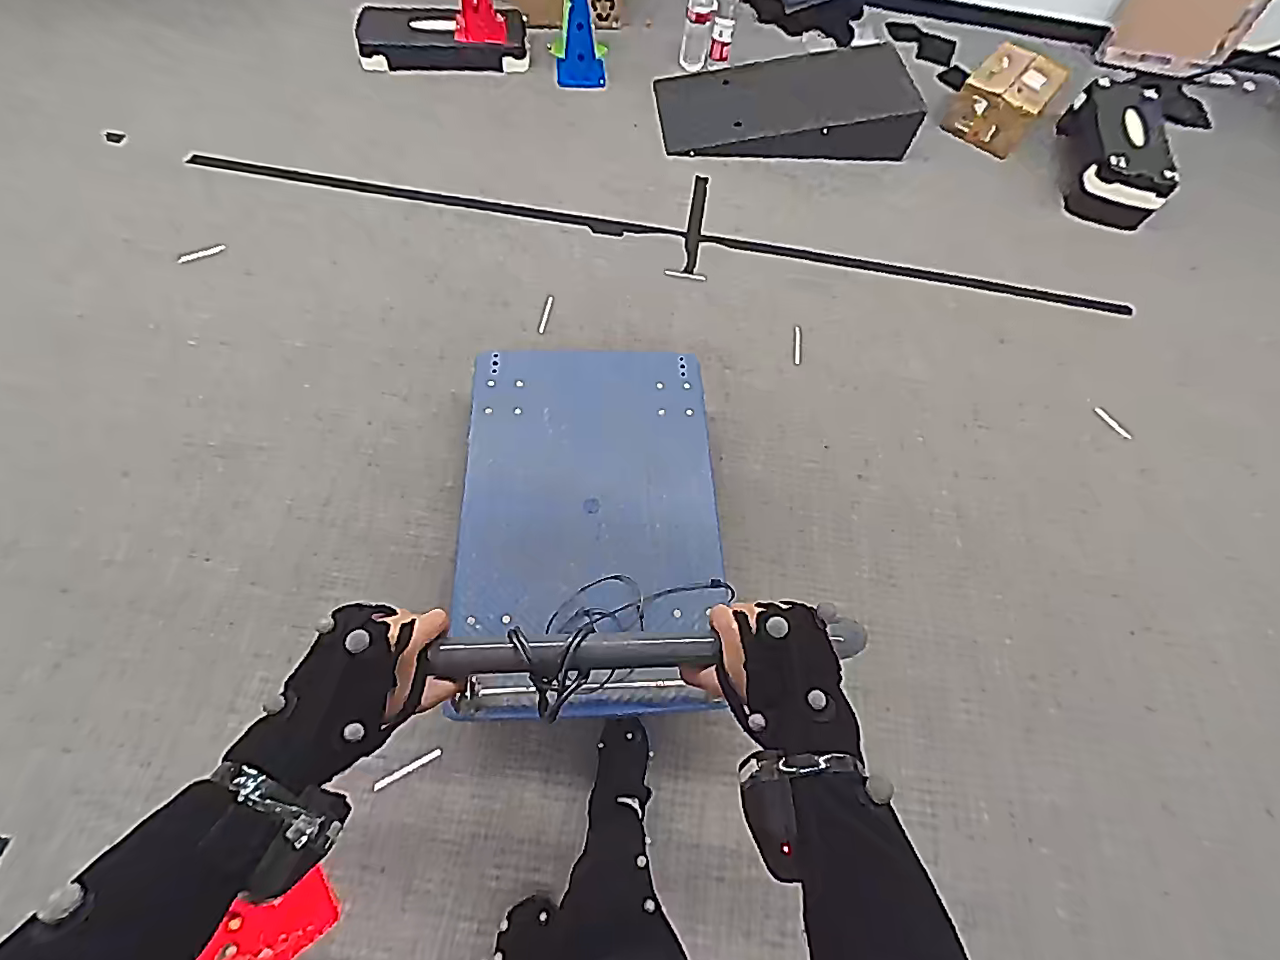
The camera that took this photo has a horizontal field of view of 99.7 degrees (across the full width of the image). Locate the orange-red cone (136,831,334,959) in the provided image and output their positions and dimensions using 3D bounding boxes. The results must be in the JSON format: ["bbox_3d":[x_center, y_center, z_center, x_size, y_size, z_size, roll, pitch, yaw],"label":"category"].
[{"bbox_3d":[-0.670,0.713,0.838,0.199,0.360,0.198,-31,71,-20],"label":"orange-red cone"}]
